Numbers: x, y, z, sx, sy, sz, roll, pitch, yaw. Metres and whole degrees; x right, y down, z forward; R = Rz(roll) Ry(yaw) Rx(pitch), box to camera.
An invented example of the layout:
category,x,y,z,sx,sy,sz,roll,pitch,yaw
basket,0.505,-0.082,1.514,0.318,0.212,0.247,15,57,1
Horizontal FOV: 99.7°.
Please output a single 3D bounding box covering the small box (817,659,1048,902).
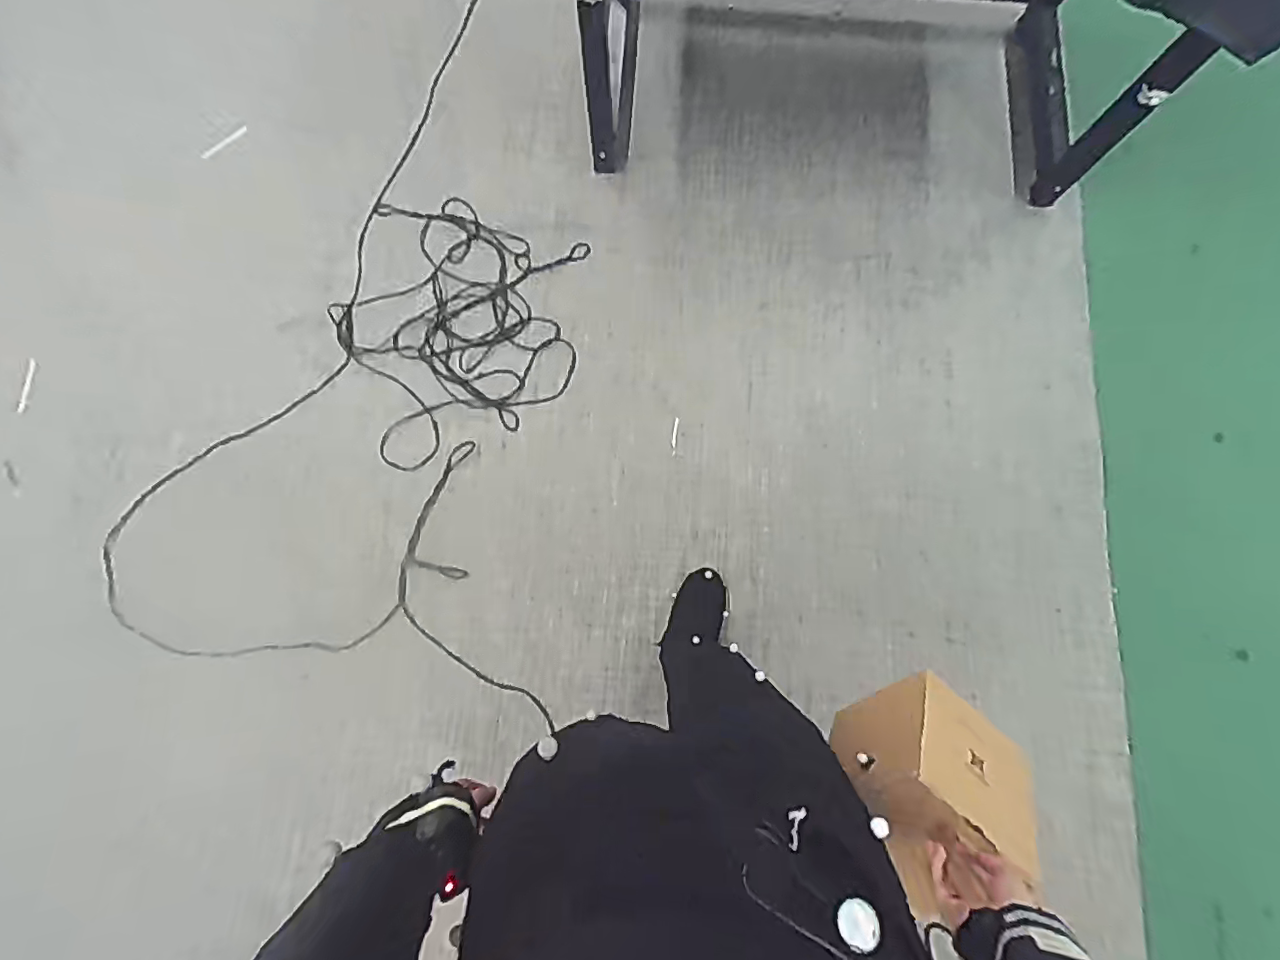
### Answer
category,x,y,z,sx,sy,sz,roll,pitch,yaw
small box,0.340,0.363,0.656,0.168,0.179,0.176,42,125,4
